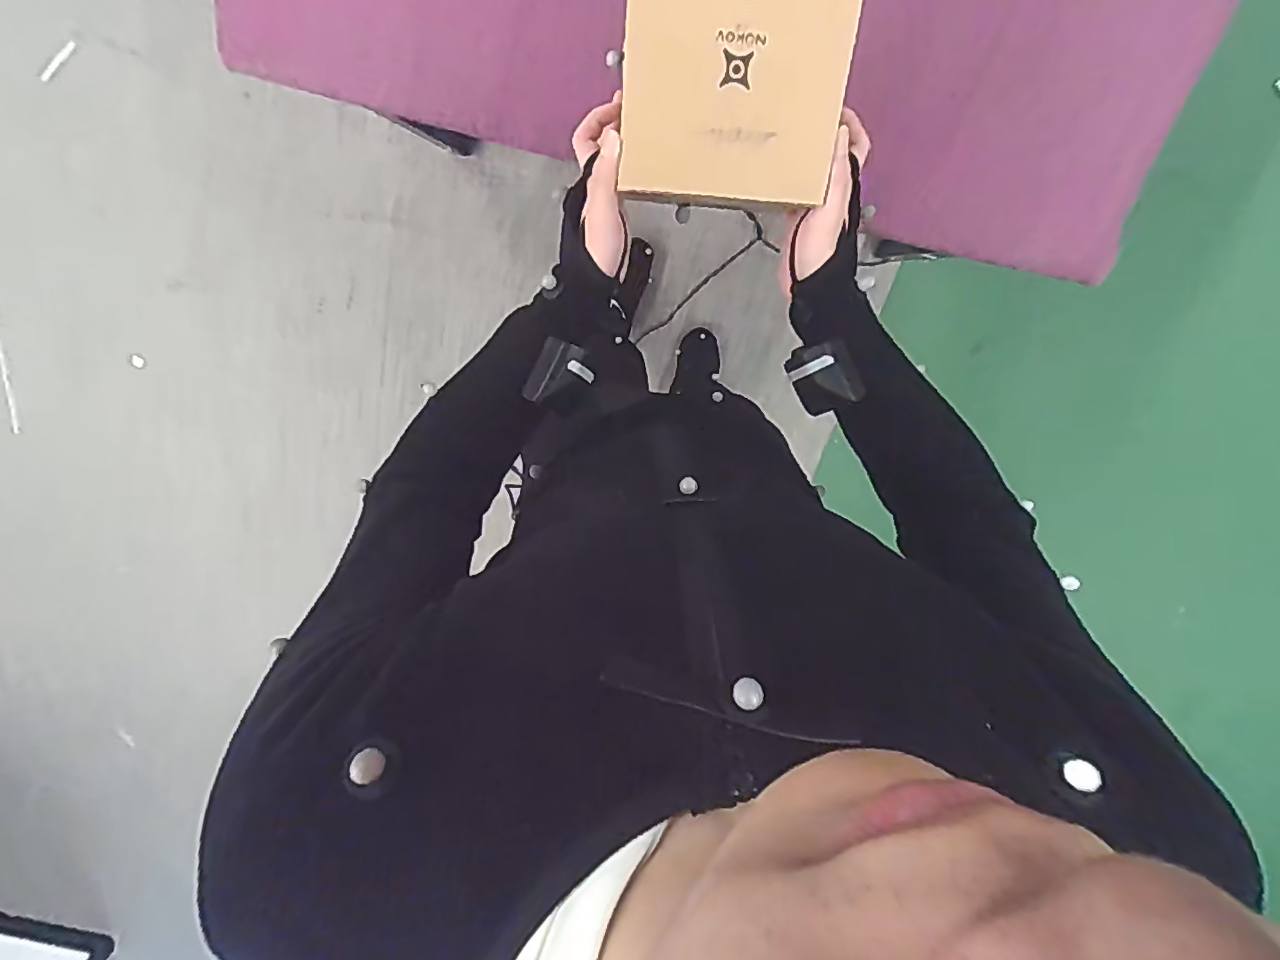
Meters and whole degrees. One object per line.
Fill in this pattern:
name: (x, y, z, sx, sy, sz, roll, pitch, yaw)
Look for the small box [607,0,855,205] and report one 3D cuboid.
small box: (0.062, -0.338, 0.452, 0.168, 0.176, 0.179, 4, 115, -2)
